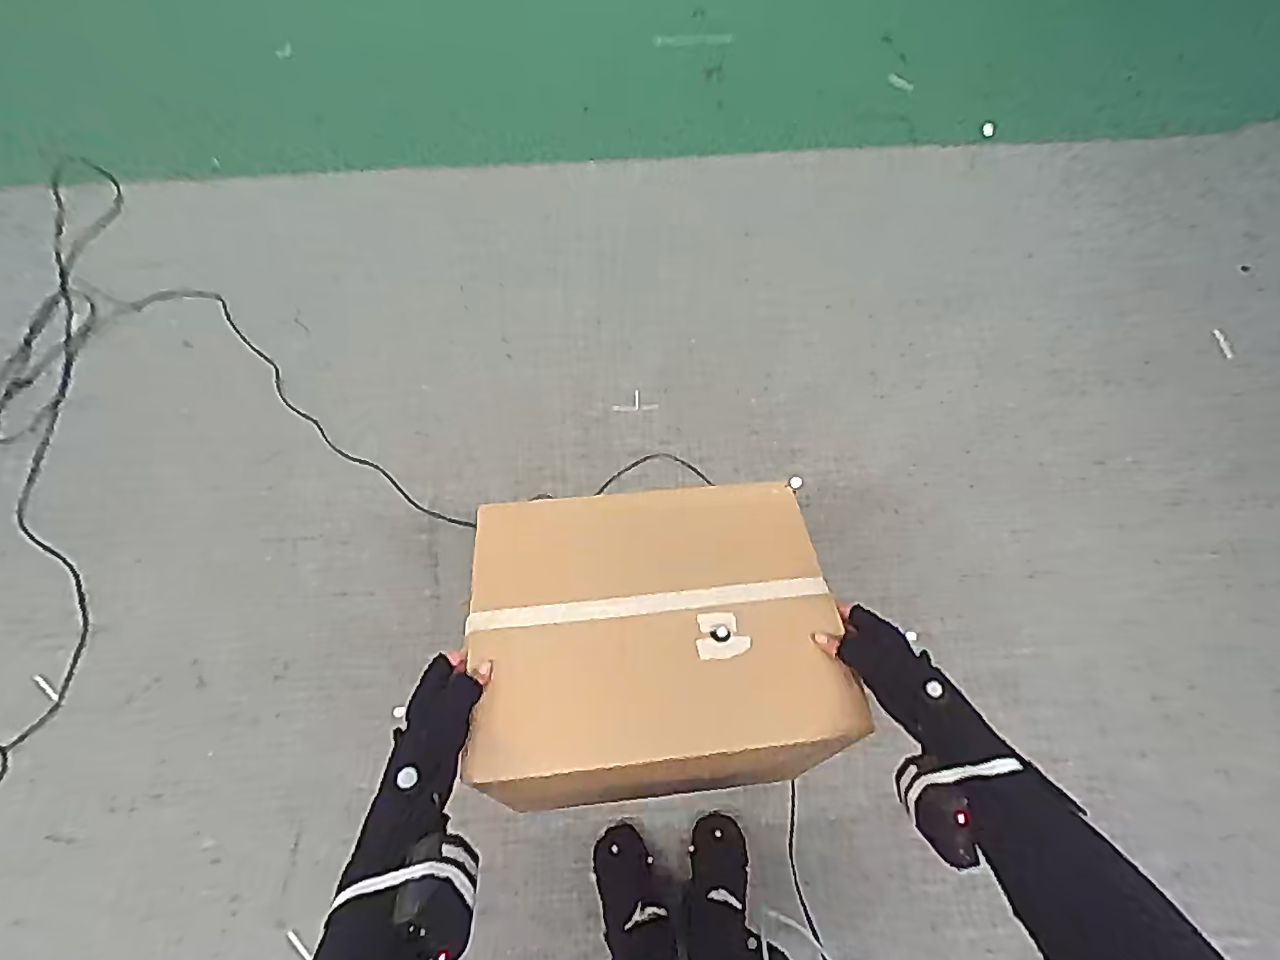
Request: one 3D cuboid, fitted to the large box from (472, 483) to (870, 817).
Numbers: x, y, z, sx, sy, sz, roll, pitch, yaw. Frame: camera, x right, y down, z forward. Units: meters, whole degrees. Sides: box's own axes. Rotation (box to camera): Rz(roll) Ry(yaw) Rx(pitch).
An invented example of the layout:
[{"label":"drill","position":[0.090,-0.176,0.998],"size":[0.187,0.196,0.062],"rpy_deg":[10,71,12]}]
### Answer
[{"label":"large box","position":[0.012,0.231,0.727],"size":[0.408,0.320,0.320],"rpy_deg":[-4,54,-6]}]
